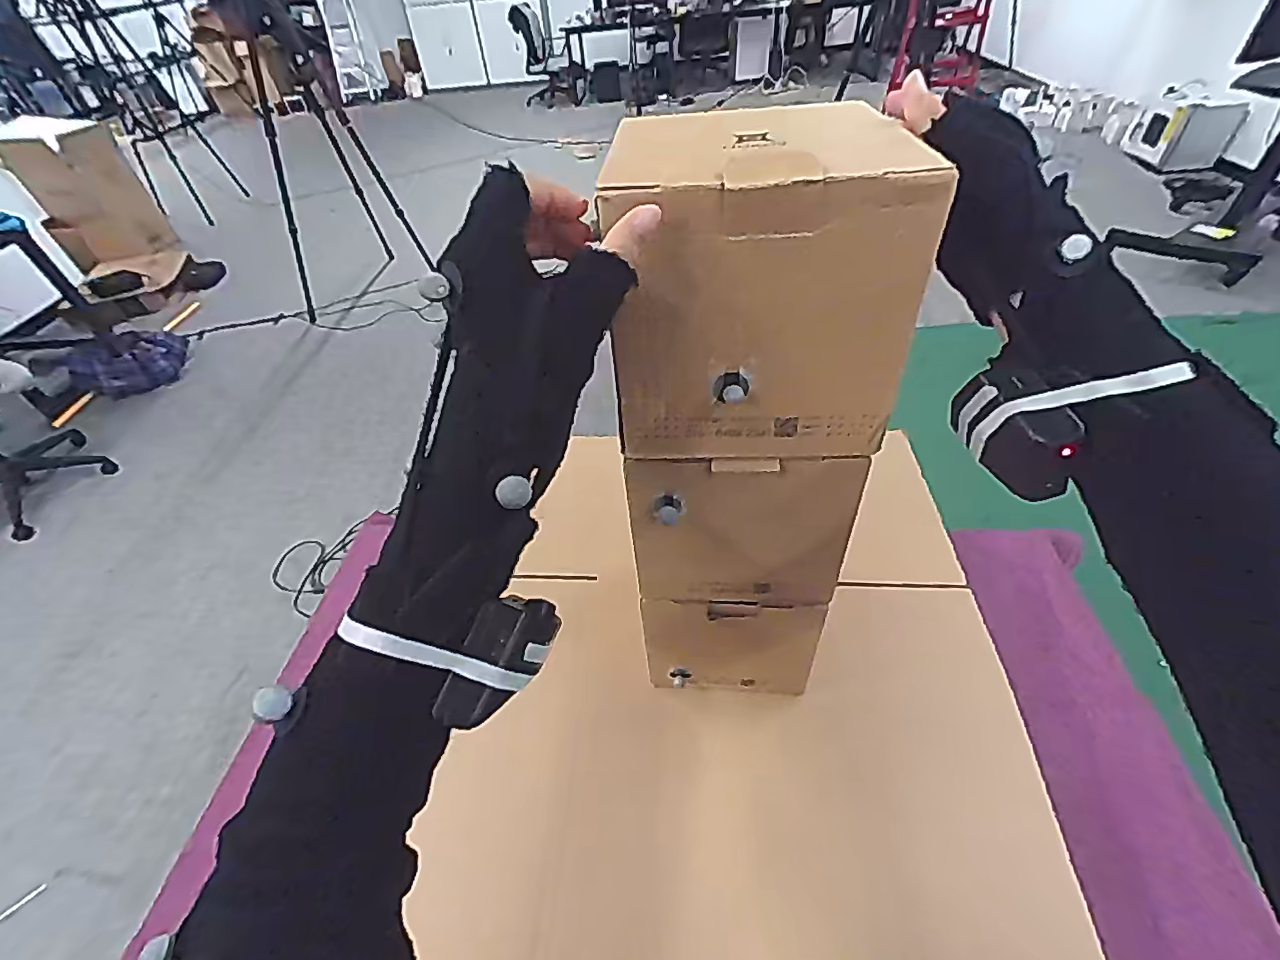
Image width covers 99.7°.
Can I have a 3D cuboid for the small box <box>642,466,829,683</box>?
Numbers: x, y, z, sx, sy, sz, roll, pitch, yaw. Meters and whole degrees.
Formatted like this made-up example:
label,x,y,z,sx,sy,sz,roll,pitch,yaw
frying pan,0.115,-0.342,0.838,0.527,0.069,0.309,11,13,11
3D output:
label,x,y,z,sx,sy,sz,roll,pitch,yaw
small box,0.094,0.105,0.585,0.168,0.176,0.179,-1,46,4
